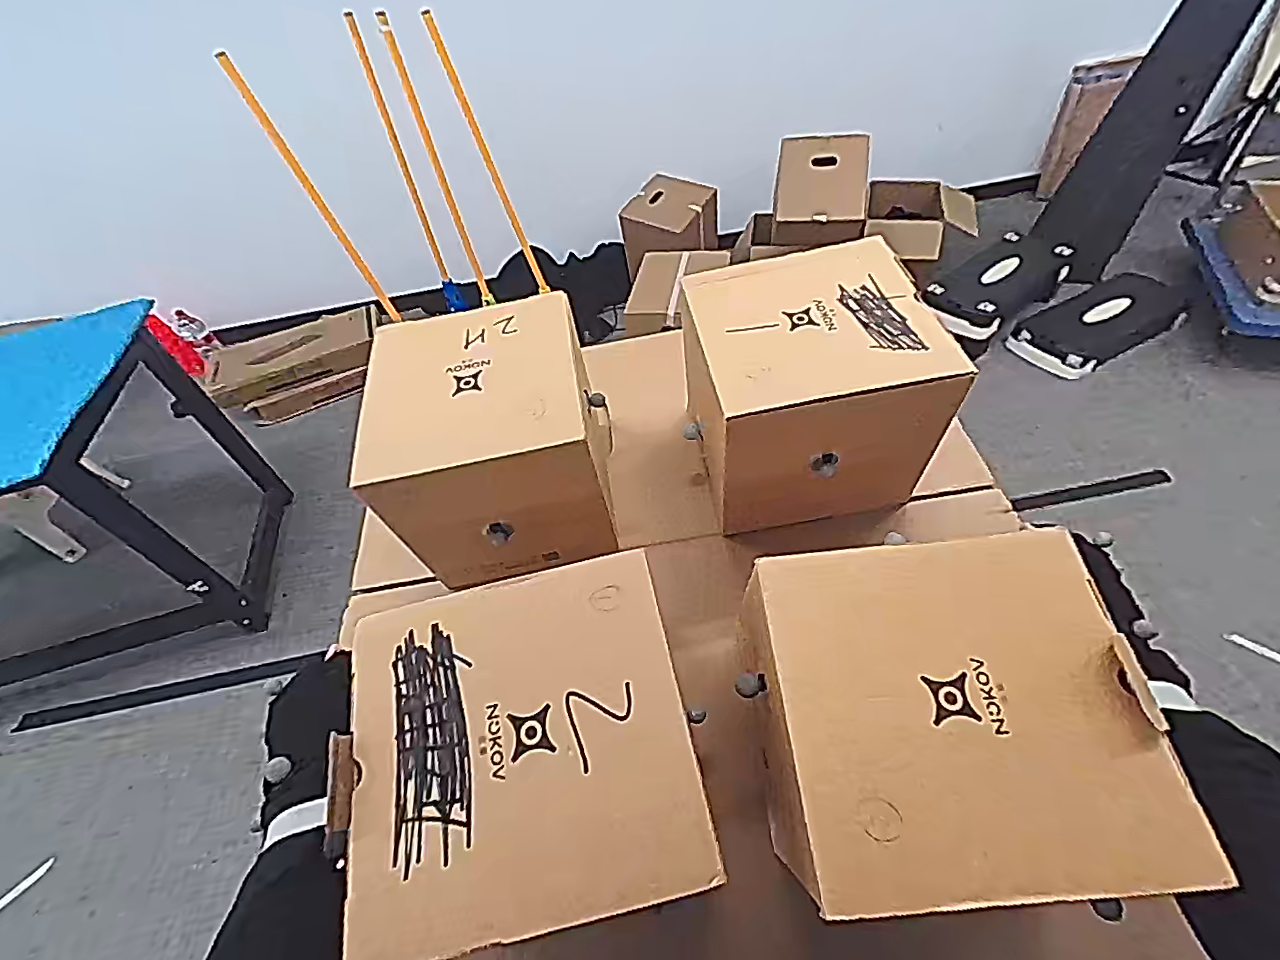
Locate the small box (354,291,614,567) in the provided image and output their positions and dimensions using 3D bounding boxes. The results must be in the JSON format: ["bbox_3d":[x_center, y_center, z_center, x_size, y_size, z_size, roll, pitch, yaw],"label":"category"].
[{"bbox_3d":[-0.123,-0.035,0.489,0.168,0.176,0.179,-11,54,0],"label":"small box"}]

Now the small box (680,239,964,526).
[{"bbox_3d":[0.137,-0.078,0.480,0.179,0.176,0.168,-10,55,2],"label":"small box"}]
